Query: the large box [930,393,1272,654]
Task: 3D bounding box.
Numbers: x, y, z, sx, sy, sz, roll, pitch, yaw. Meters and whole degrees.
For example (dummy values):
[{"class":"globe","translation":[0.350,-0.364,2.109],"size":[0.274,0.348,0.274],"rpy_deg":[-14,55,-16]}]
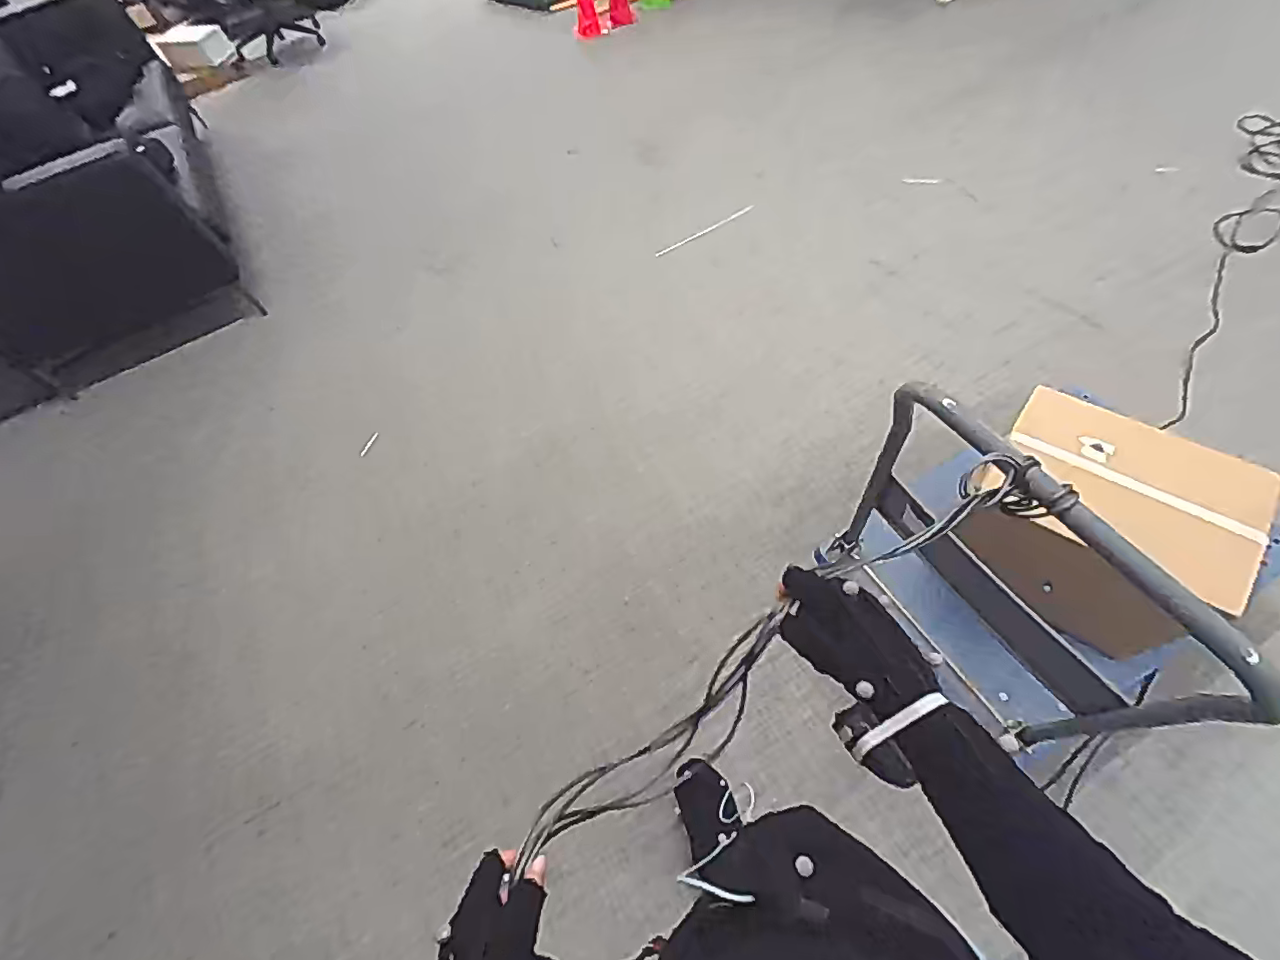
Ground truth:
[{"class":"large box","translation":[0.902,0.093,1.116],"size":[0.408,0.320,0.320],"rpy_deg":[31,68,25]}]
